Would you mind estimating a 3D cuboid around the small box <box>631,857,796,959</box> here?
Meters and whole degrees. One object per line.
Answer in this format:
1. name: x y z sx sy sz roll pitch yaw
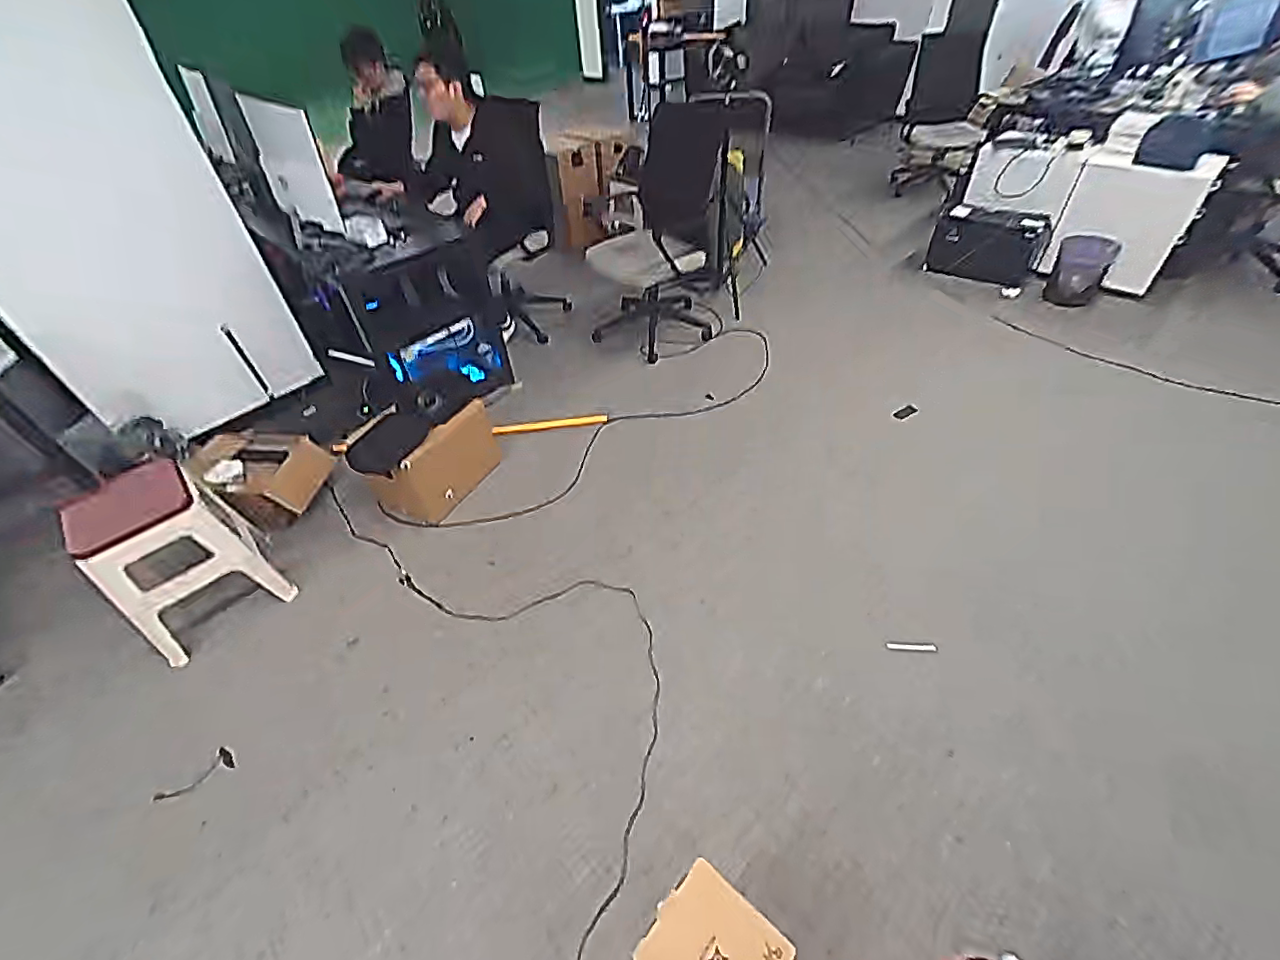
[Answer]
1. small box: 0.106 0.726 0.815 0.179 0.176 0.168 30 54 30
